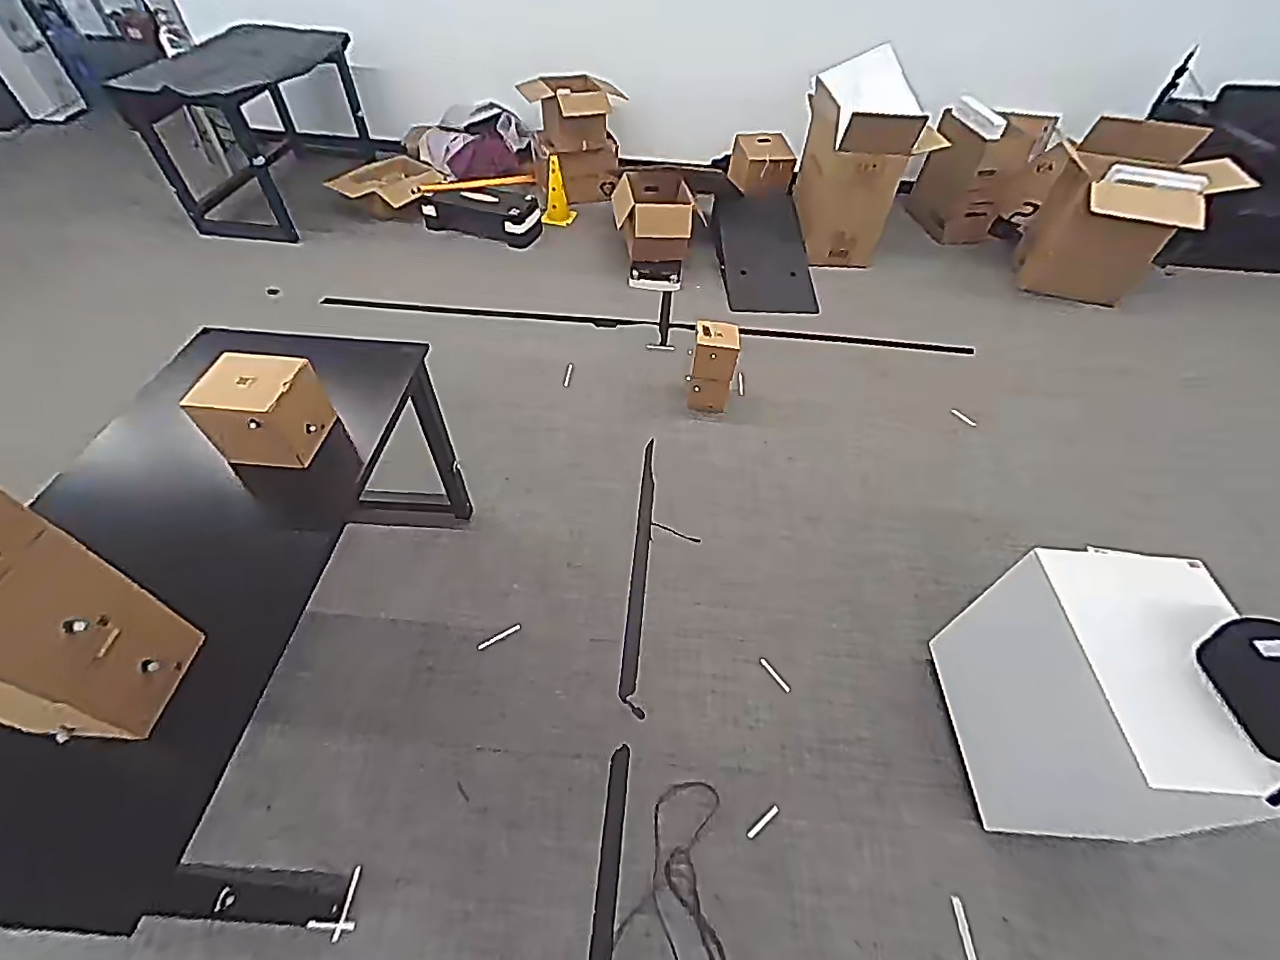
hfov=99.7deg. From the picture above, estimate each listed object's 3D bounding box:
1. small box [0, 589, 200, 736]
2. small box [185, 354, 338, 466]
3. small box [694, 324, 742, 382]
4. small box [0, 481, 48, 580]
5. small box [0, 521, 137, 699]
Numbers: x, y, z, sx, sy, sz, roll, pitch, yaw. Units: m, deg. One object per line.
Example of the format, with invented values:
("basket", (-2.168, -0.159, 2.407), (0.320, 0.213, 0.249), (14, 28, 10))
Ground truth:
("small box", (-0.810, 0.265, 0.792), (0.179, 0.176, 0.168), (4, 50, -1))
("small box", (-0.781, -0.145, 1.138), (0.179, 0.176, 0.168), (5, 50, 0))
("small box", (0.320, -0.530, 2.257), (0.179, 0.176, 0.168), (6, 50, 0))
("small box", (-0.796, 0.053, 0.542), (0.179, 0.176, 0.168), (4, 51, -1))
("small box", (-0.804, 0.159, 0.667), (0.179, 0.176, 0.168), (4, 51, 0))
